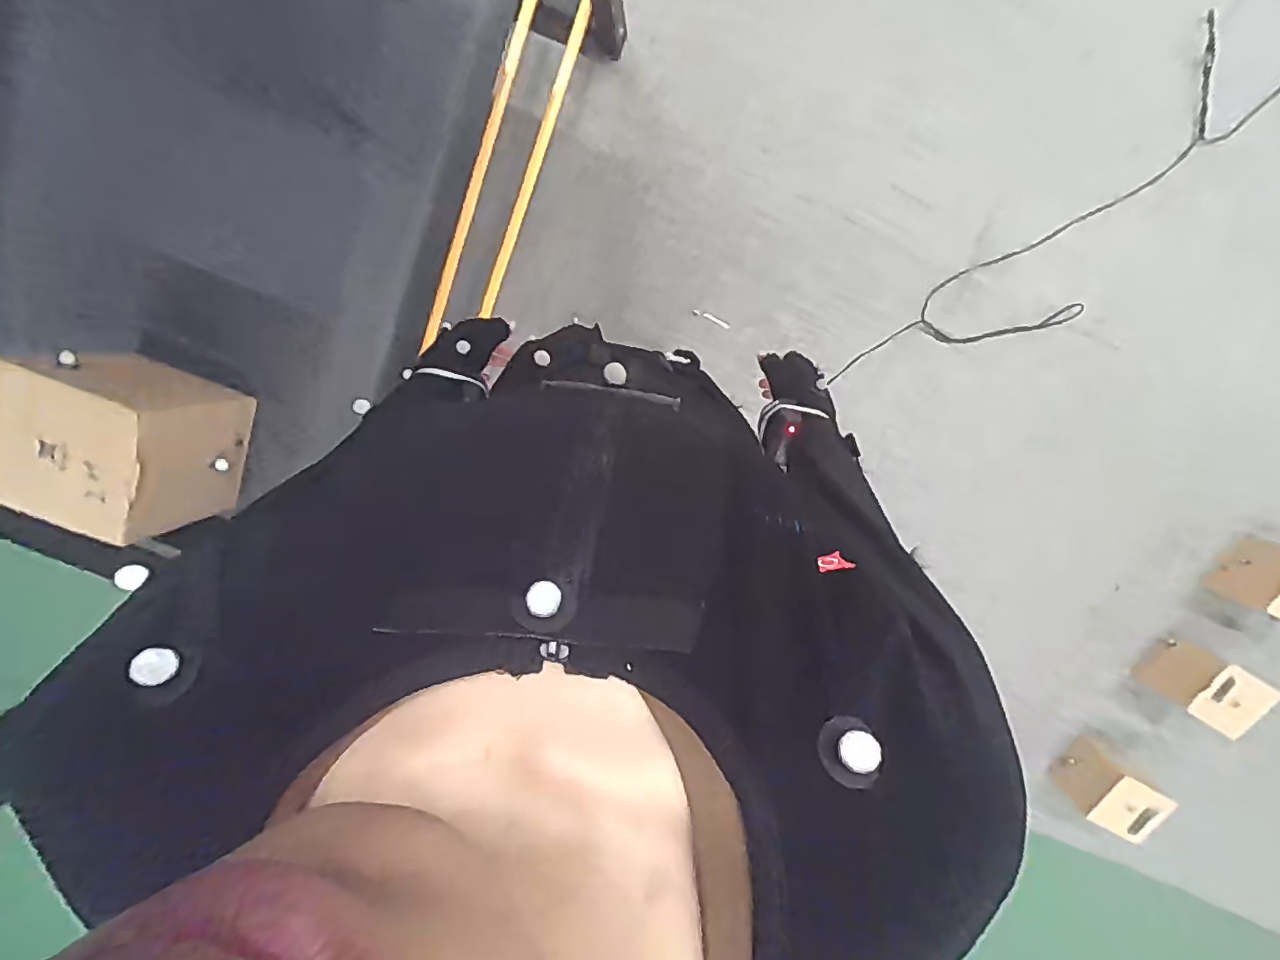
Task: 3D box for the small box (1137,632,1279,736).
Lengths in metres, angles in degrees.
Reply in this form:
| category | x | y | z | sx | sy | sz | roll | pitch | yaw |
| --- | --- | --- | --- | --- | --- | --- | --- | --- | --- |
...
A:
| category | x | y | z | sx | sy | sz | roll | pitch | yaw |
| --- | --- | --- | --- | --- | --- | --- | --- | --- | --- |
| small box | 1.512 | 0.535 | 1.448 | 0.179 | 0.176 | 0.168 | 30 | 104 | -5 |

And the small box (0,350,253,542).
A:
| category | x | y | z | sx | sy | sz | roll | pitch | yaw |
| --- | --- | --- | --- | --- | --- | --- | --- | --- | --- |
| small box | -0.632 | -0.050 | 0.665 | 0.179 | 0.176 | 0.168 | 21 | 104 | -2 |

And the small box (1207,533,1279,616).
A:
| category | x | y | z | sx | sy | sz | roll | pitch | yaw |
| --- | --- | --- | --- | --- | --- | --- | --- | --- | --- |
| small box | 1.636 | 0.256 | 1.373 | 0.179 | 0.176 | 0.168 | 24 | 104 | -2 |
